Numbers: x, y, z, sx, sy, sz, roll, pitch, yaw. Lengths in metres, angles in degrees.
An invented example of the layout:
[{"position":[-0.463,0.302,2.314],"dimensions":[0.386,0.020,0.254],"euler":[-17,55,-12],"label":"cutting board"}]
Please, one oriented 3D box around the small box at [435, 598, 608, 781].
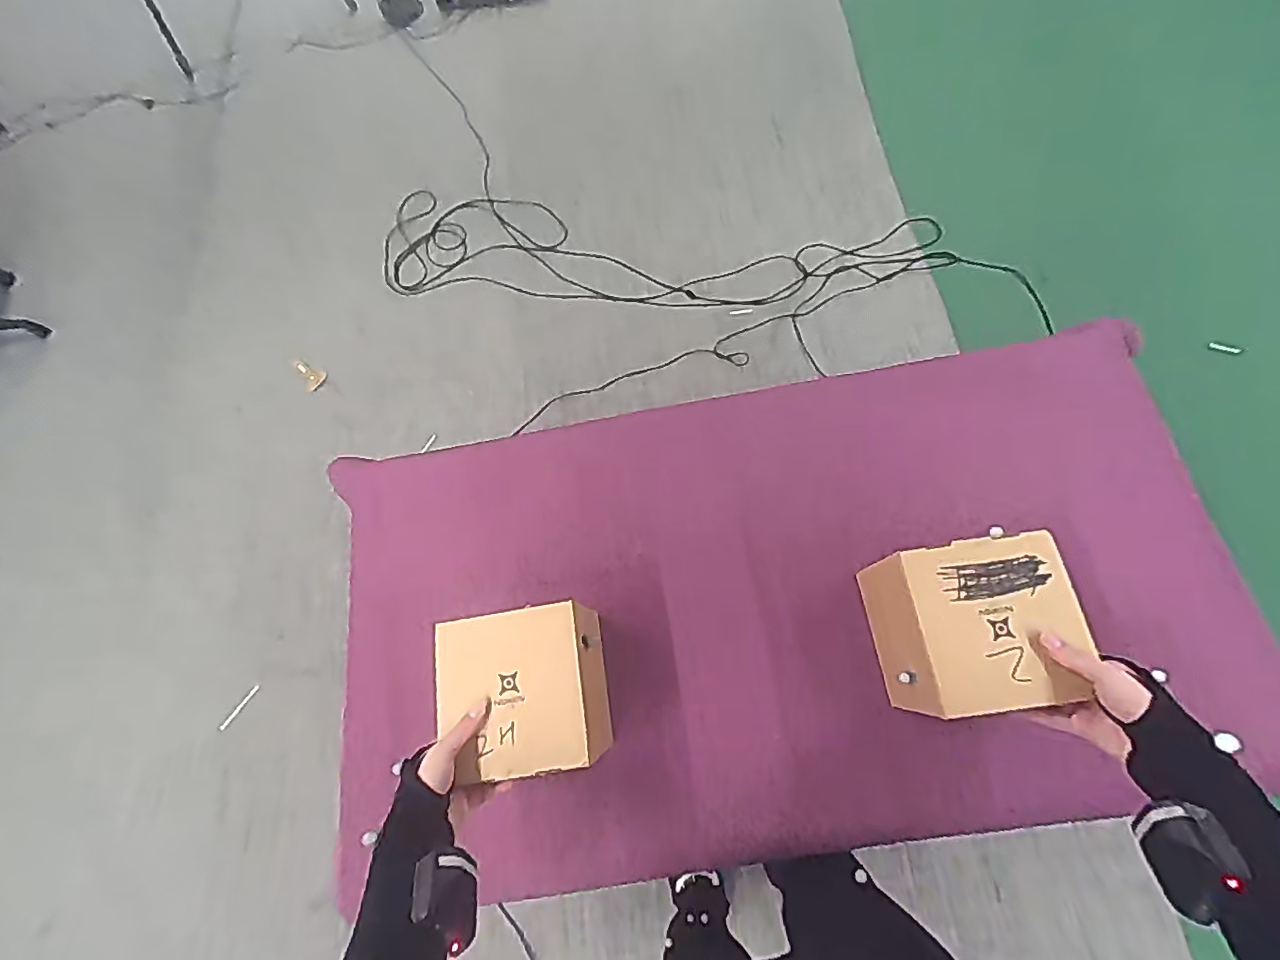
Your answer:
[{"position":[-0.141,0.256,0.677],"dimensions":[0.168,0.176,0.179],"euler":[-10,70,4],"label":"small box"}]
